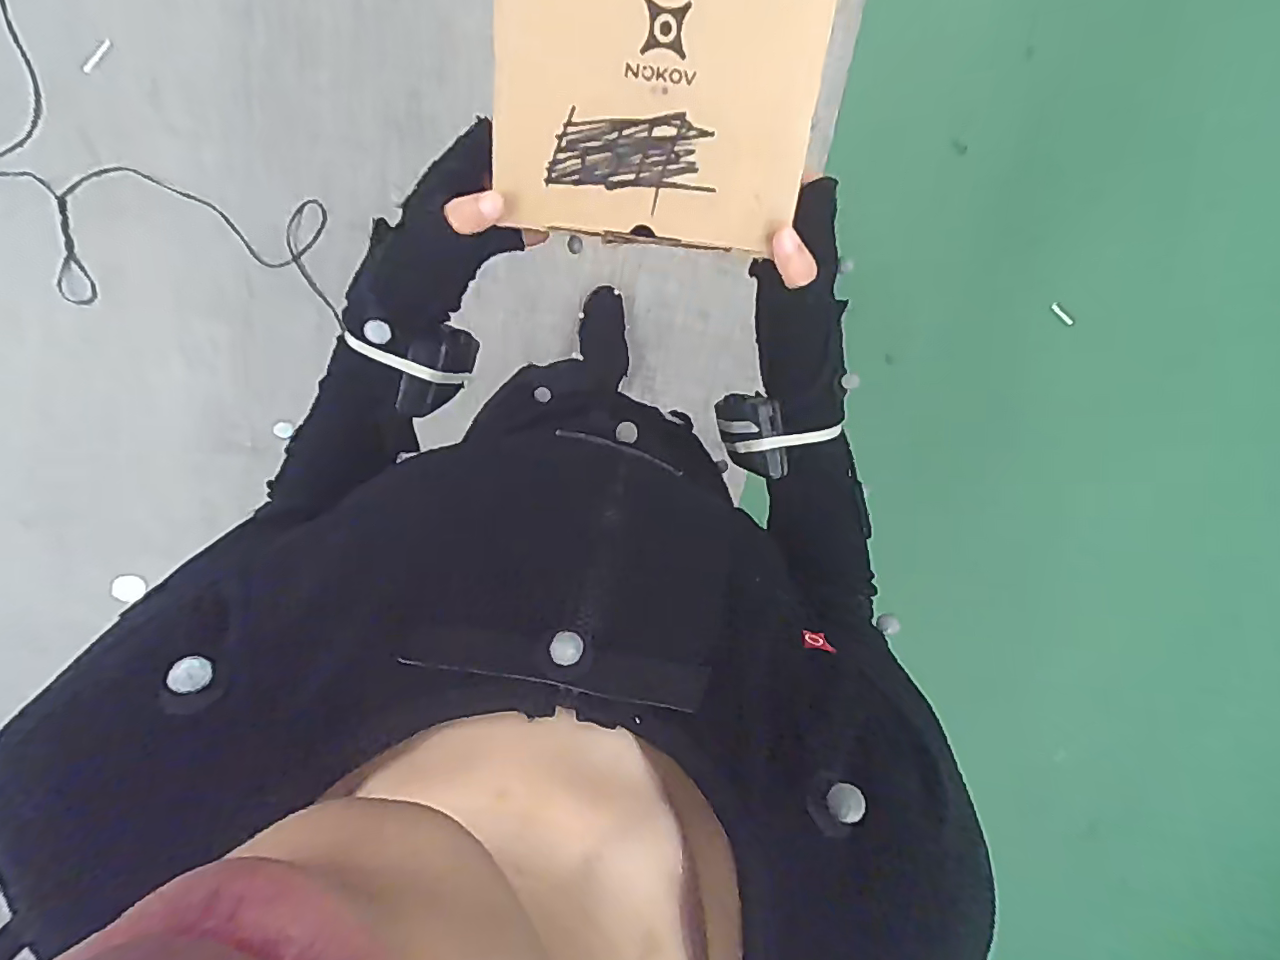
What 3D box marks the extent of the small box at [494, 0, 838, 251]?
[{"bbox_3d":[0.011,-0.248,0.338,0.168,0.176,0.179,6,113,-3],"label":"small box"}]
